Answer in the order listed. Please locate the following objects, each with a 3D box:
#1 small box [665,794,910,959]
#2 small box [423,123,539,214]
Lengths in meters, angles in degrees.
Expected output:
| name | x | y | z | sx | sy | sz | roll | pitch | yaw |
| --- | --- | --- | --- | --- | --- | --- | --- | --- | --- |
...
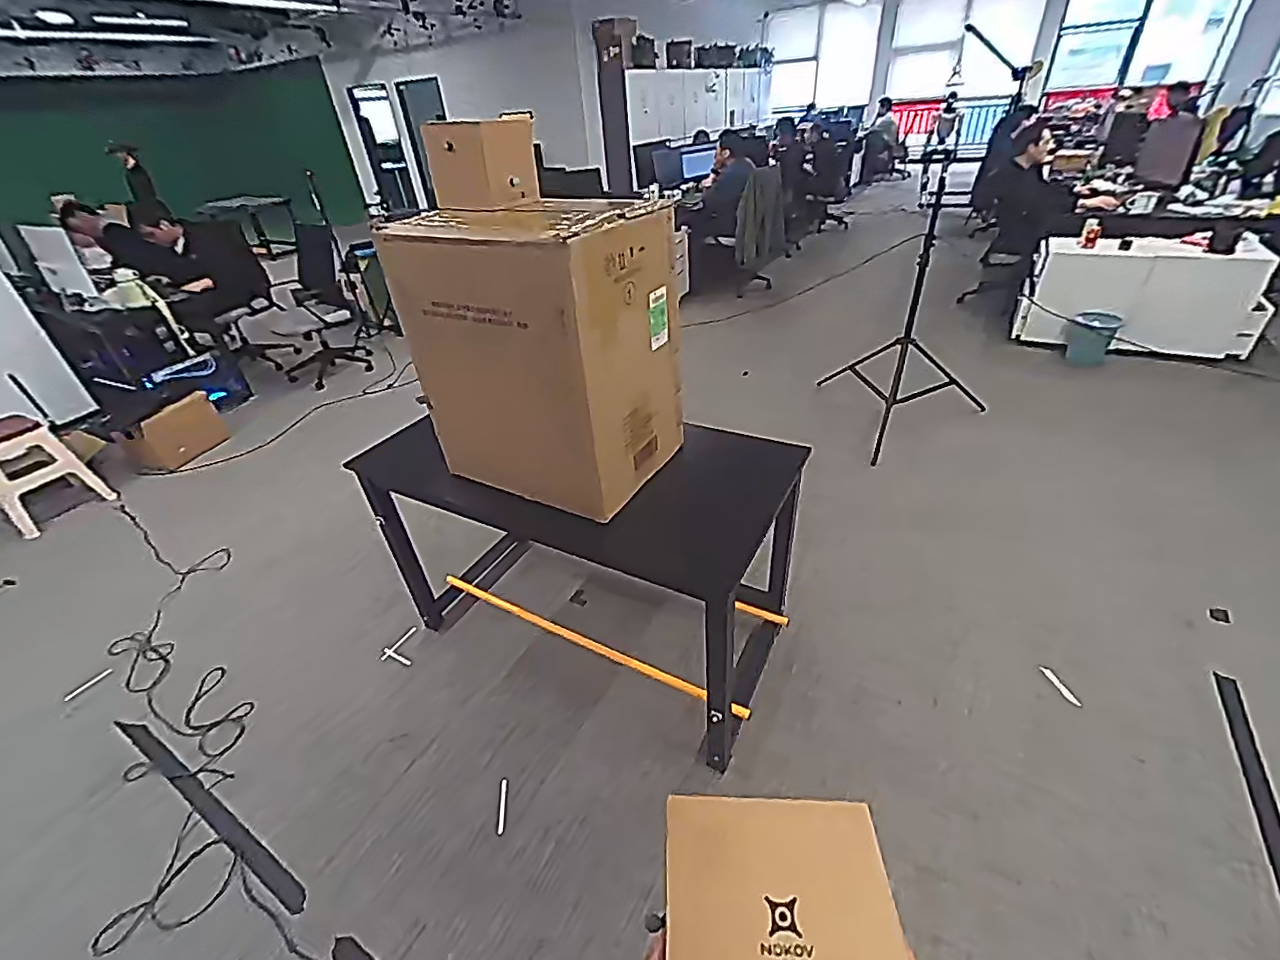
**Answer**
| name | x | y | z | sx | sy | sz | roll | pitch | yaw |
| --- | --- | --- | --- | --- | --- | --- | --- | --- | --- |
| small box | 0.102 | 0.378 | 0.424 | 0.168 | 0.176 | 0.179 | 0 | 37 | 3 |
| small box | -0.355 | -0.707 | 1.231 | 0.179 | 0.176 | 0.168 | 16 | 38 | 26 |
